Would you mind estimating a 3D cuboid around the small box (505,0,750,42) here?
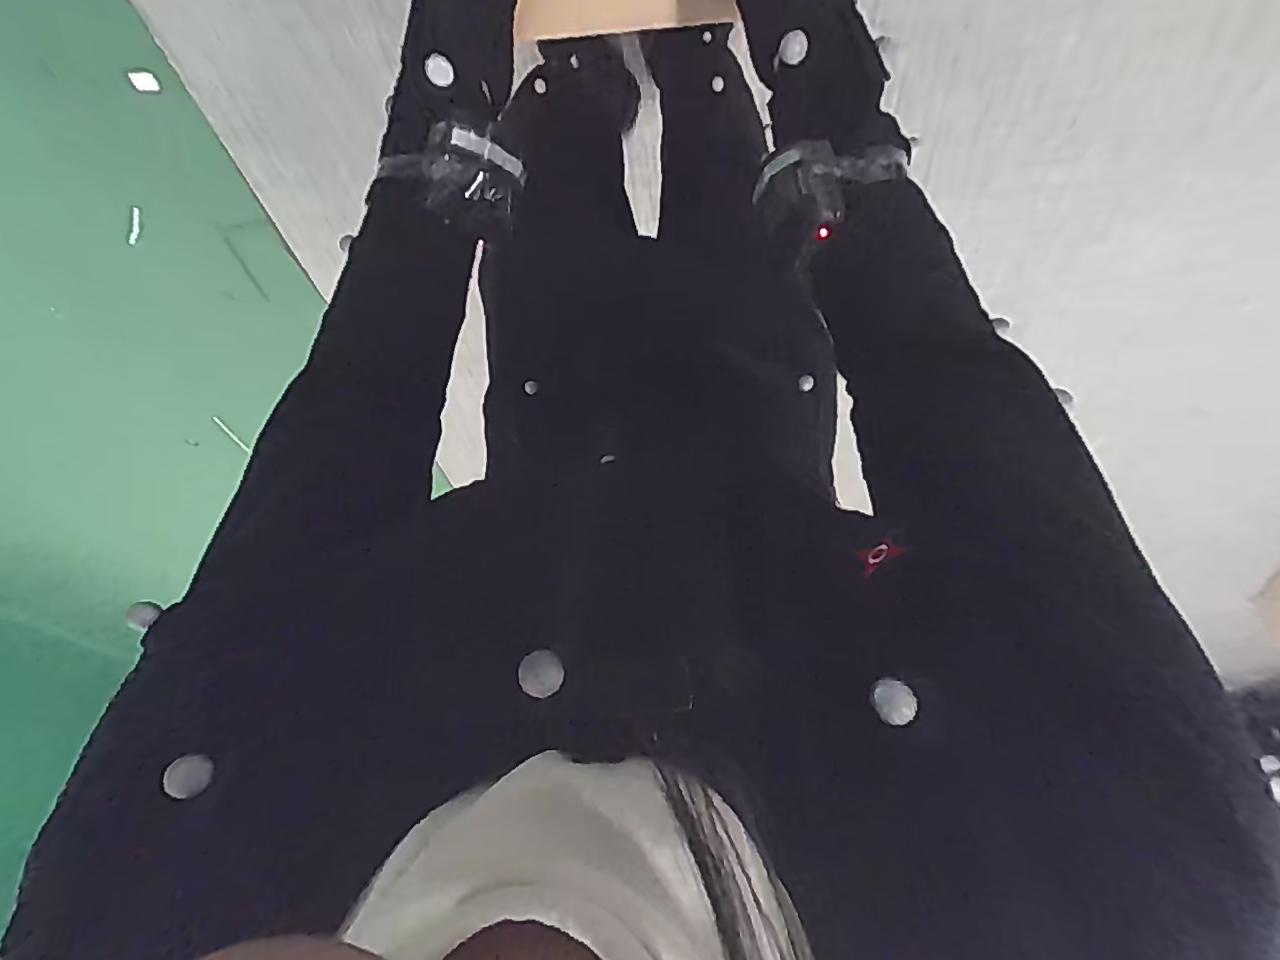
[{"bbox_3d":[-0.015,-0.442,0.380,0.179,0.176,0.168,-3,143,3],"label":"small box"}]
